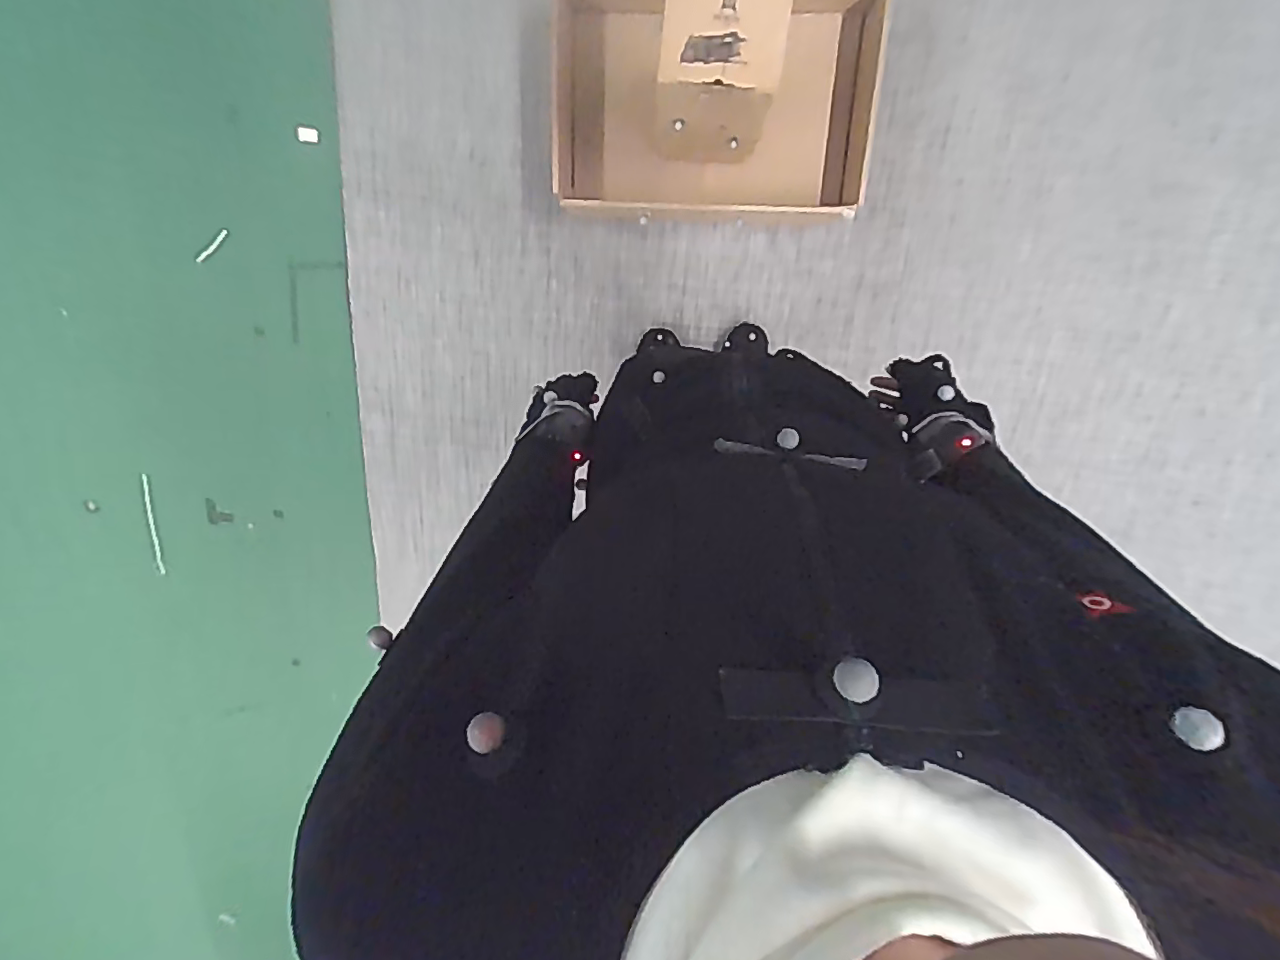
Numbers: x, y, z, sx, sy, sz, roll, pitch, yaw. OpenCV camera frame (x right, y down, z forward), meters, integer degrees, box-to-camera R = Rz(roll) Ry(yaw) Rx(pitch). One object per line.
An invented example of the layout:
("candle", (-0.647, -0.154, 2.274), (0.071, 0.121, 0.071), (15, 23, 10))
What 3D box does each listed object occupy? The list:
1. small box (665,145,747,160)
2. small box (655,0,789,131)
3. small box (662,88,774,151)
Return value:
("small box", (0.139, -0.757, 1.086), (0.179, 0.176, 0.168), (2, 106, 3))
("small box", (0.116, -0.633, 0.781), (0.168, 0.176, 0.179), (7, 106, 1))
("small box", (0.129, -0.678, 0.922), (0.179, 0.176, 0.168), (3, 107, 3))
